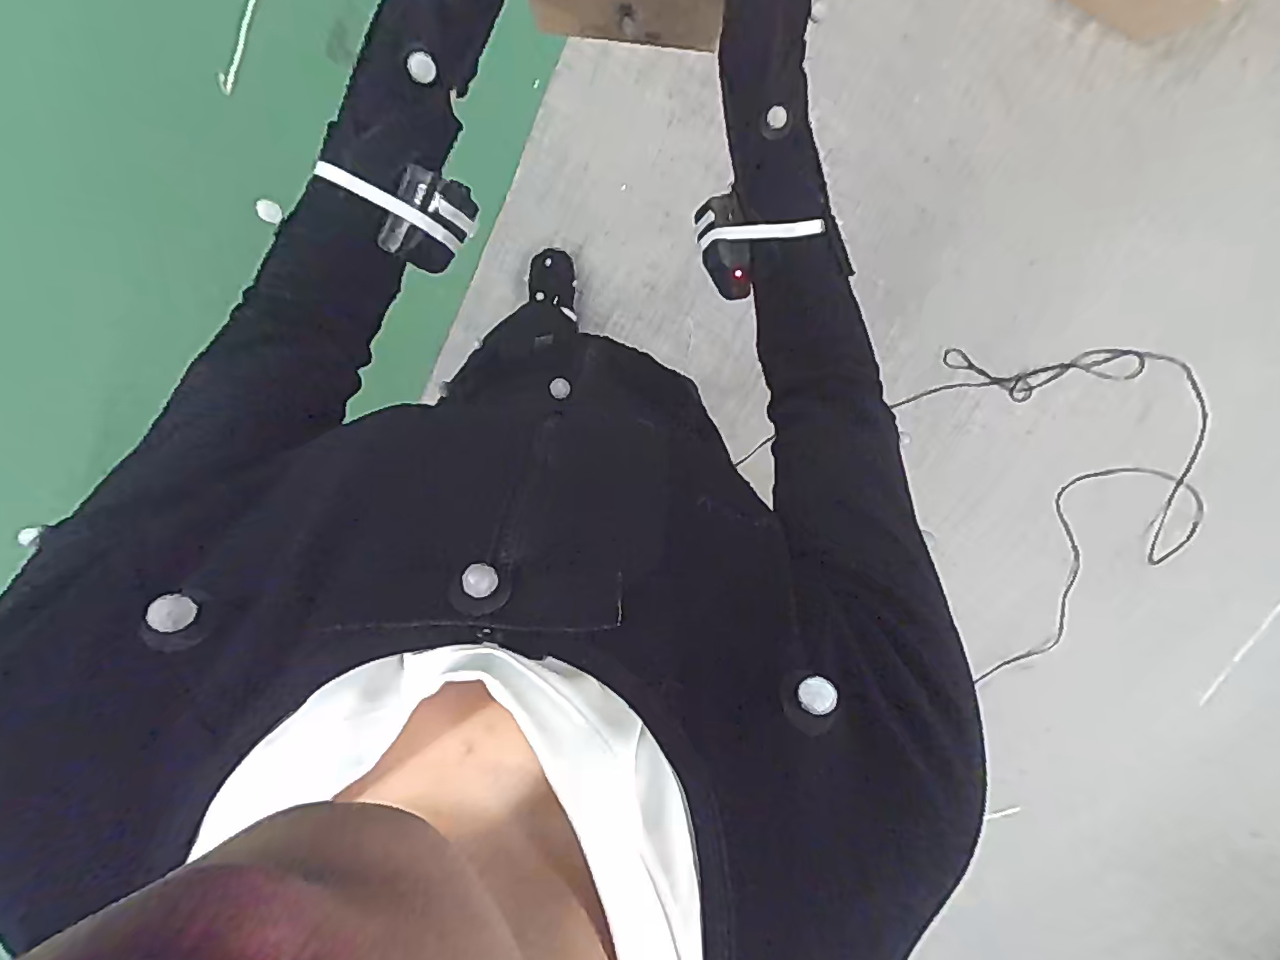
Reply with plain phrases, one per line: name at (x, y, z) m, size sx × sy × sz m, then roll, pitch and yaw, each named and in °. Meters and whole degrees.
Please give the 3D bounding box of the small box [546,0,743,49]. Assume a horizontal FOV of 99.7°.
small box at (0.009, -0.456, 0.384) m, size 0.168 × 0.176 × 0.179 m, roll 4°, pitch 108°, yaw -5°
